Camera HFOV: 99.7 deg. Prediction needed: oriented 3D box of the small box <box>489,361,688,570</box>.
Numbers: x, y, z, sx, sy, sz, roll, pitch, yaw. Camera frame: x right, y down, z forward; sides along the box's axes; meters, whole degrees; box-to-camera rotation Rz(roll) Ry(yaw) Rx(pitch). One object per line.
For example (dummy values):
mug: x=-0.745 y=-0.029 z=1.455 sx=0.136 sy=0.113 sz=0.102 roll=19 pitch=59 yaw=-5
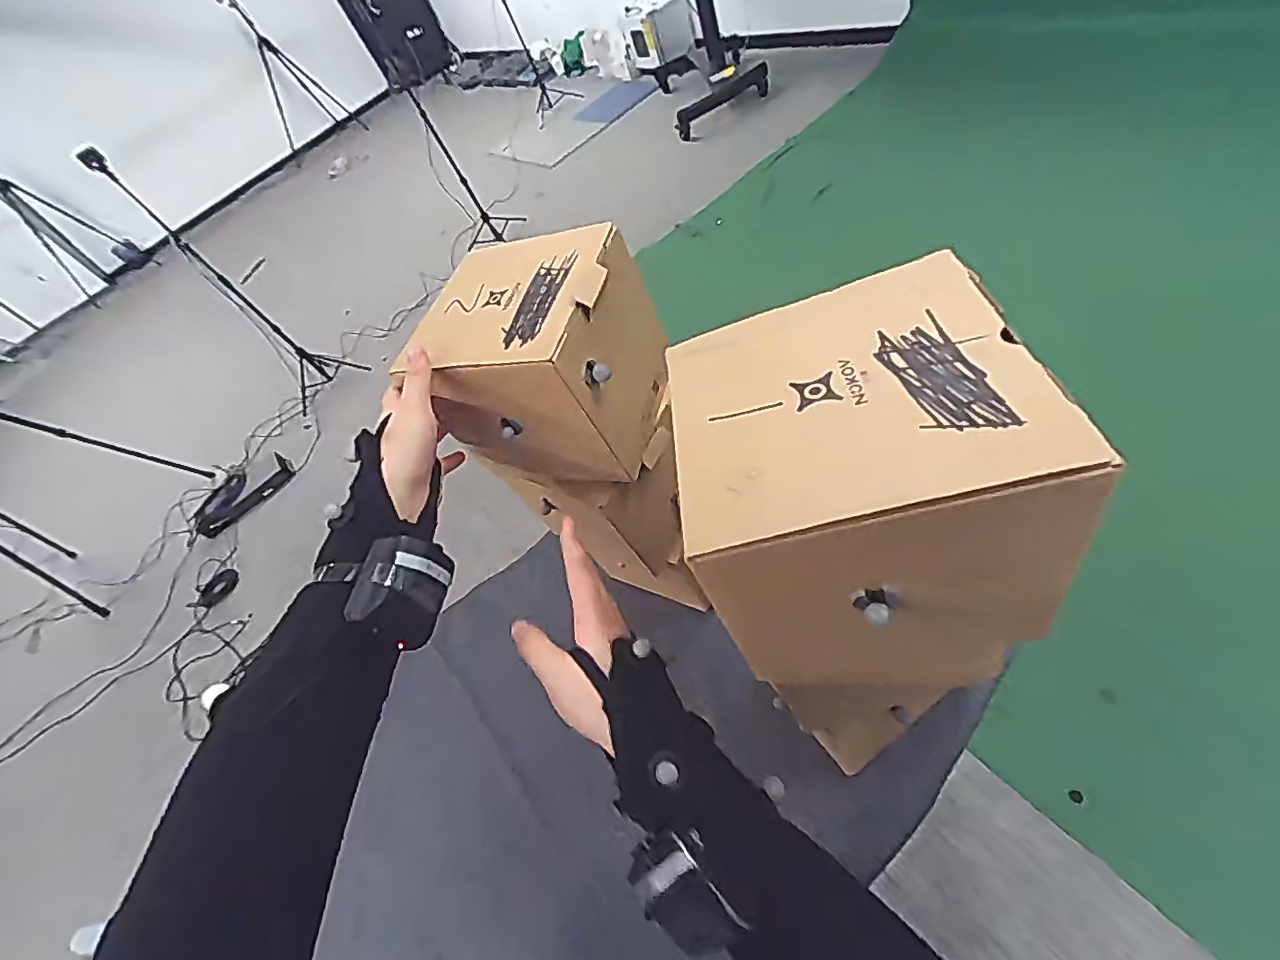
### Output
small box: x=-0.035 y=-0.015 z=0.646 sx=0.179 sy=0.176 sz=0.168 roll=19 pitch=68 yaw=33

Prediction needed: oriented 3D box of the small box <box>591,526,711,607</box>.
small box: x=0.037 y=0.061 z=0.775 sx=0.179 sy=0.176 sz=0.168 roll=15 pitch=65 yaw=30

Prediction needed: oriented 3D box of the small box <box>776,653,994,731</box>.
small box: x=0.179 y=0.092 z=0.464 sx=0.179 sy=0.176 sz=0.168 roll=-22 pitch=46 yaw=8

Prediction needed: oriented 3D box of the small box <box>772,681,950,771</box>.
small box: x=0.227 y=0.183 z=0.592 sx=0.179 sy=0.176 sz=0.168 roll=-38 pitch=46 yaw=-5

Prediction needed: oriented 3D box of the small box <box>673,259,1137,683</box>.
small box: x=0.131 y=0.007 z=0.329 sx=0.179 sy=0.176 sz=0.168 roll=-15 pitch=48 yaw=16
